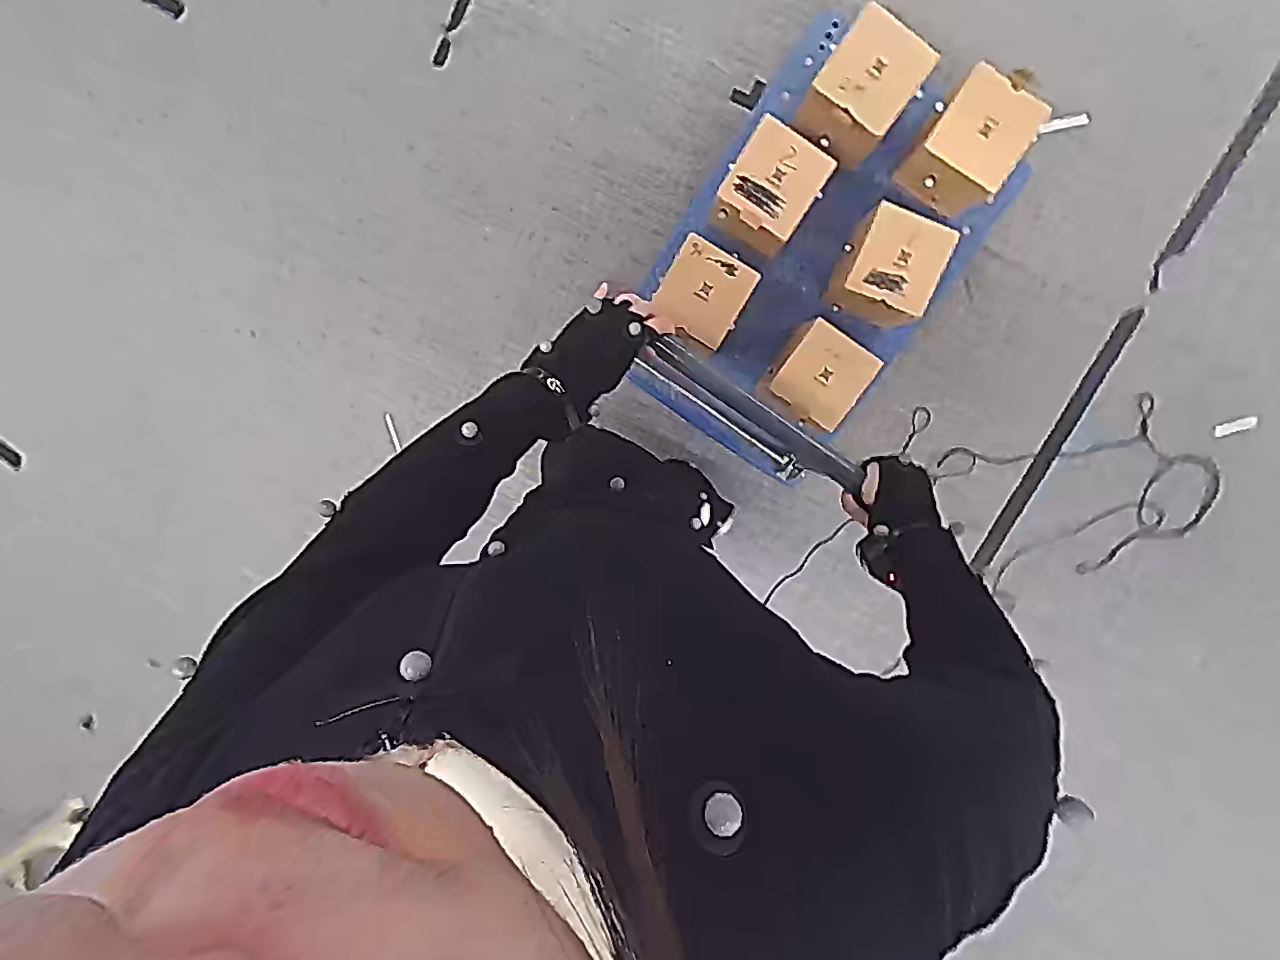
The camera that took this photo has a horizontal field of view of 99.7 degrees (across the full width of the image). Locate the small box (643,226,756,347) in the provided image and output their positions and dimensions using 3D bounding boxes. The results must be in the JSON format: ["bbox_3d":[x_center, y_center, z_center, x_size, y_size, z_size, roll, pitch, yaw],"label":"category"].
[{"bbox_3d":[0.122,-0.400,1.157,0.168,0.176,0.179,31,100,-4],"label":"small box"}]

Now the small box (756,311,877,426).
[{"bbox_3d":[0.371,-0.238,1.178,0.168,0.176,0.179,35,98,-5],"label":"small box"}]

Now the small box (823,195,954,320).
[{"bbox_3d":[0.505,-0.454,1.136,0.168,0.176,0.179,22,99,-2],"label":"small box"}]

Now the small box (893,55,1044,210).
[{"bbox_3d":[0.645,-0.684,1.092,0.168,0.176,0.179,31,99,-3],"label":"small box"}]

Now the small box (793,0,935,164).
[{"bbox_3d":[0.432,-0.784,1.079,0.168,0.176,0.179,36,99,-4],"label":"small box"}]
